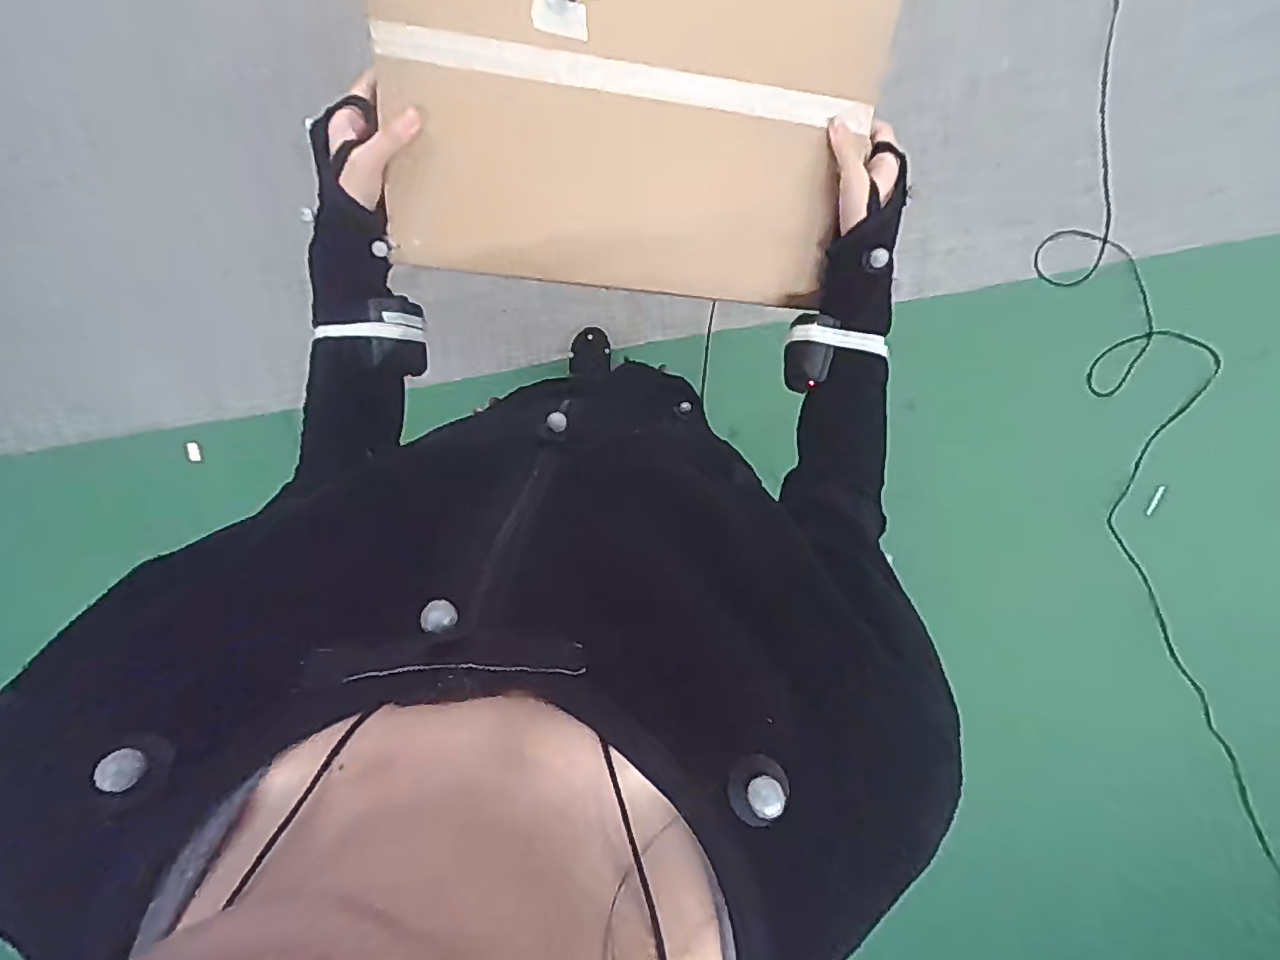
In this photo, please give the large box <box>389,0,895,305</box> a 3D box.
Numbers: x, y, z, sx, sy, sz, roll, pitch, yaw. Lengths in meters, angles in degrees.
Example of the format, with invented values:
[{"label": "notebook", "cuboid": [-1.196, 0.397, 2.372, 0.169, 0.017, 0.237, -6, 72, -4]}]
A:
[{"label": "large box", "cuboid": [-0.013, -0.391, 0.582, 0.408, 0.320, 0.320, 4, 115, -9]}]
